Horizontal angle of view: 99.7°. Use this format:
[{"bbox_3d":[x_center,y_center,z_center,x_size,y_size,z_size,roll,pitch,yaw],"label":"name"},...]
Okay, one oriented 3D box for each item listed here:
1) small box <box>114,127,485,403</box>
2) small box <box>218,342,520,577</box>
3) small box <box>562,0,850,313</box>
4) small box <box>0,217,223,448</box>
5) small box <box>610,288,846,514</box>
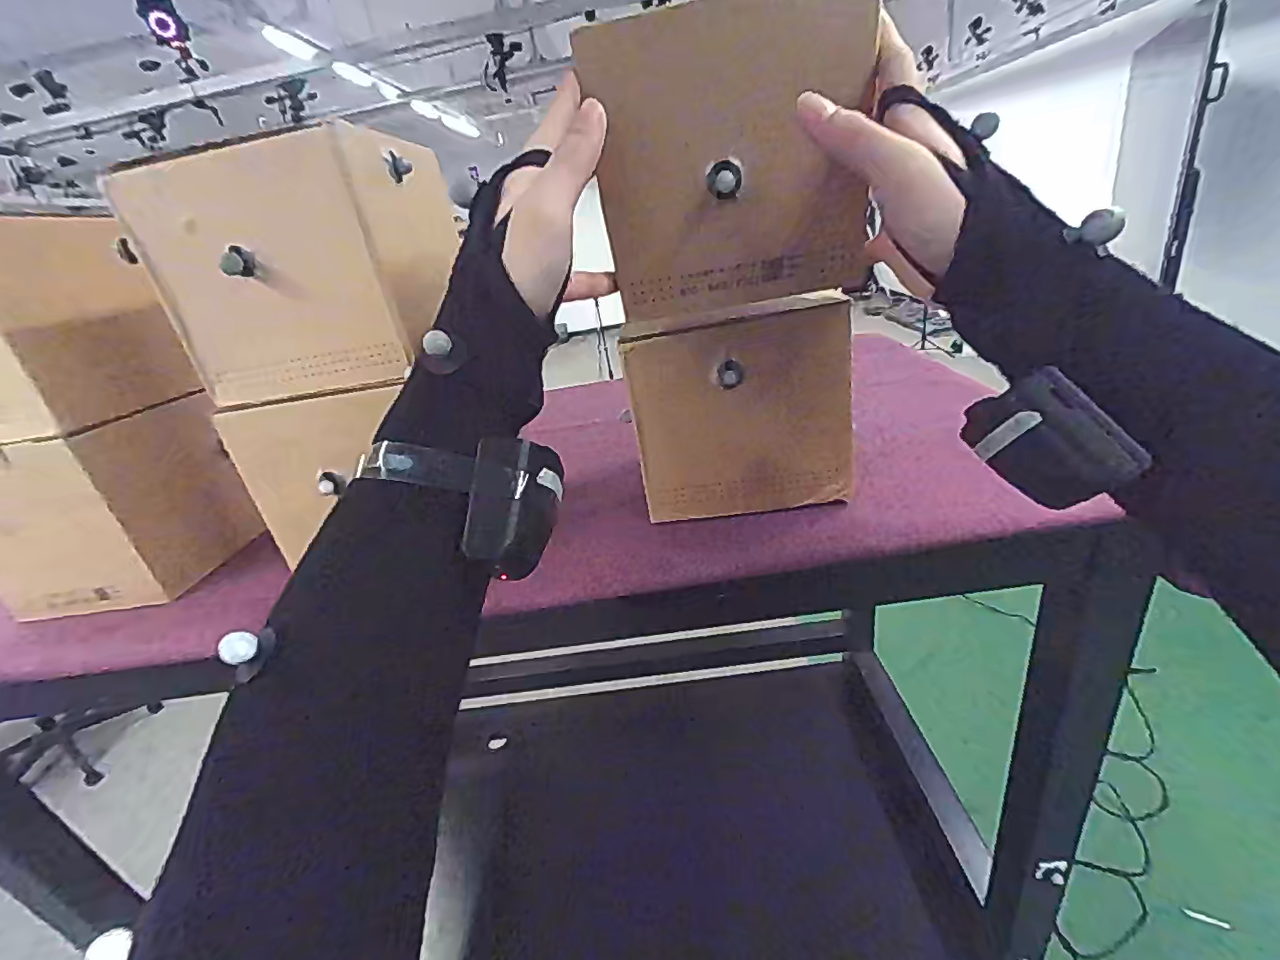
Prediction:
[{"bbox_3d":[-0.260,-0.174,0.464,0.179,0.176,0.168,-9,25,7],"label":"small box"},{"bbox_3d":[-0.236,-0.024,0.527,0.179,0.176,0.168,-8,25,10],"label":"small box"},{"bbox_3d":[0.054,-0.237,0.406,0.168,0.176,0.179,-7,35,8],"label":"small box"},{"bbox_3d":[-0.547,-0.133,0.499,0.168,0.176,0.179,-7,24,9],"label":"small box"},{"bbox_3d":[0.084,-0.079,0.508,0.179,0.176,0.168,-7,25,10],"label":"small box"}]
